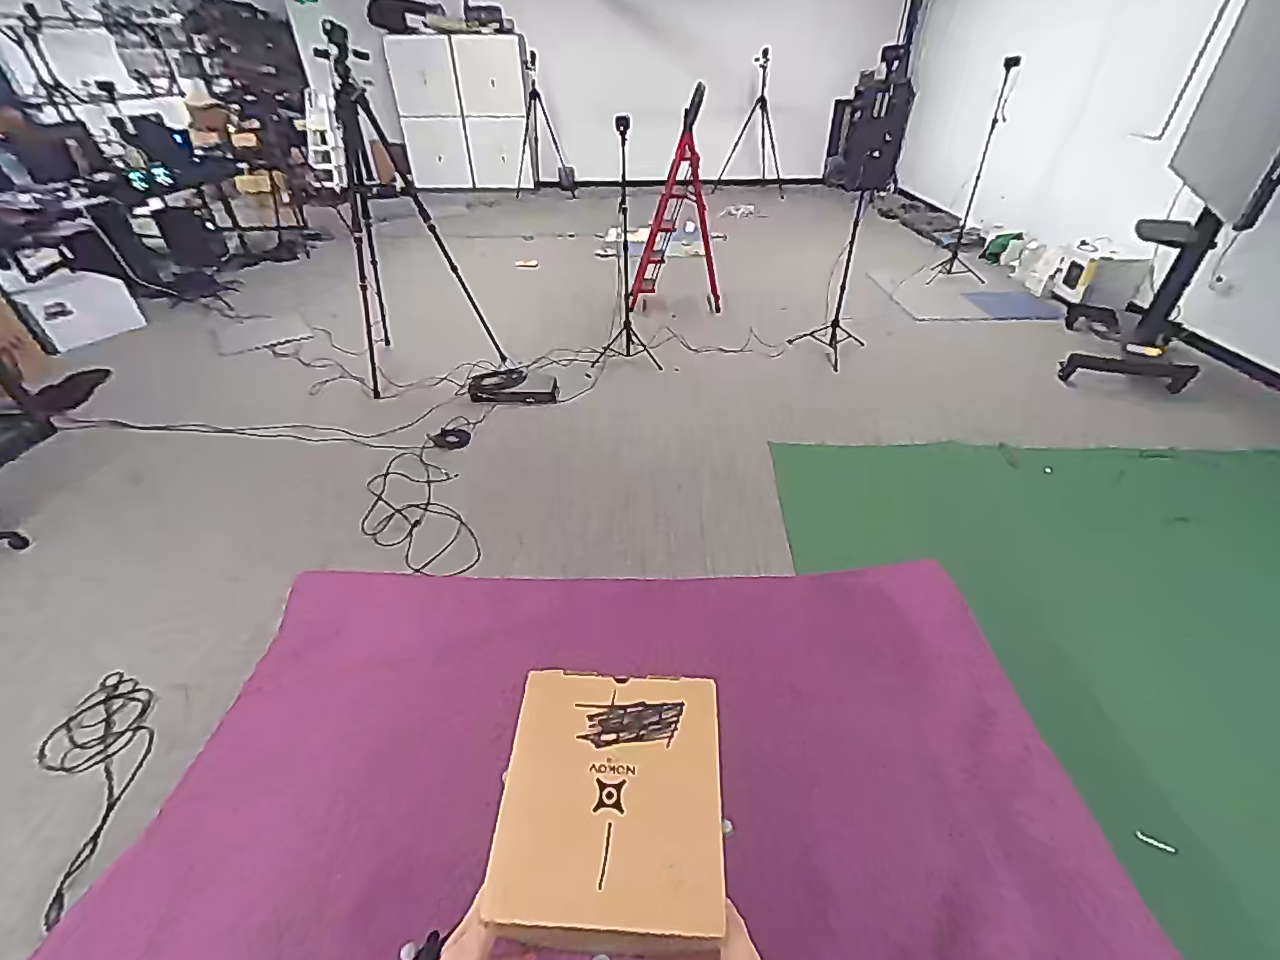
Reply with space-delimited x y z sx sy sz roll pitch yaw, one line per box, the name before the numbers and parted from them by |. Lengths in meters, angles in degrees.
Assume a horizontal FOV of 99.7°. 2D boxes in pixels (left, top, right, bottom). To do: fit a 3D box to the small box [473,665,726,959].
small box | -0.020 0.280 0.455 0.168 0.176 0.179 1 44 3
